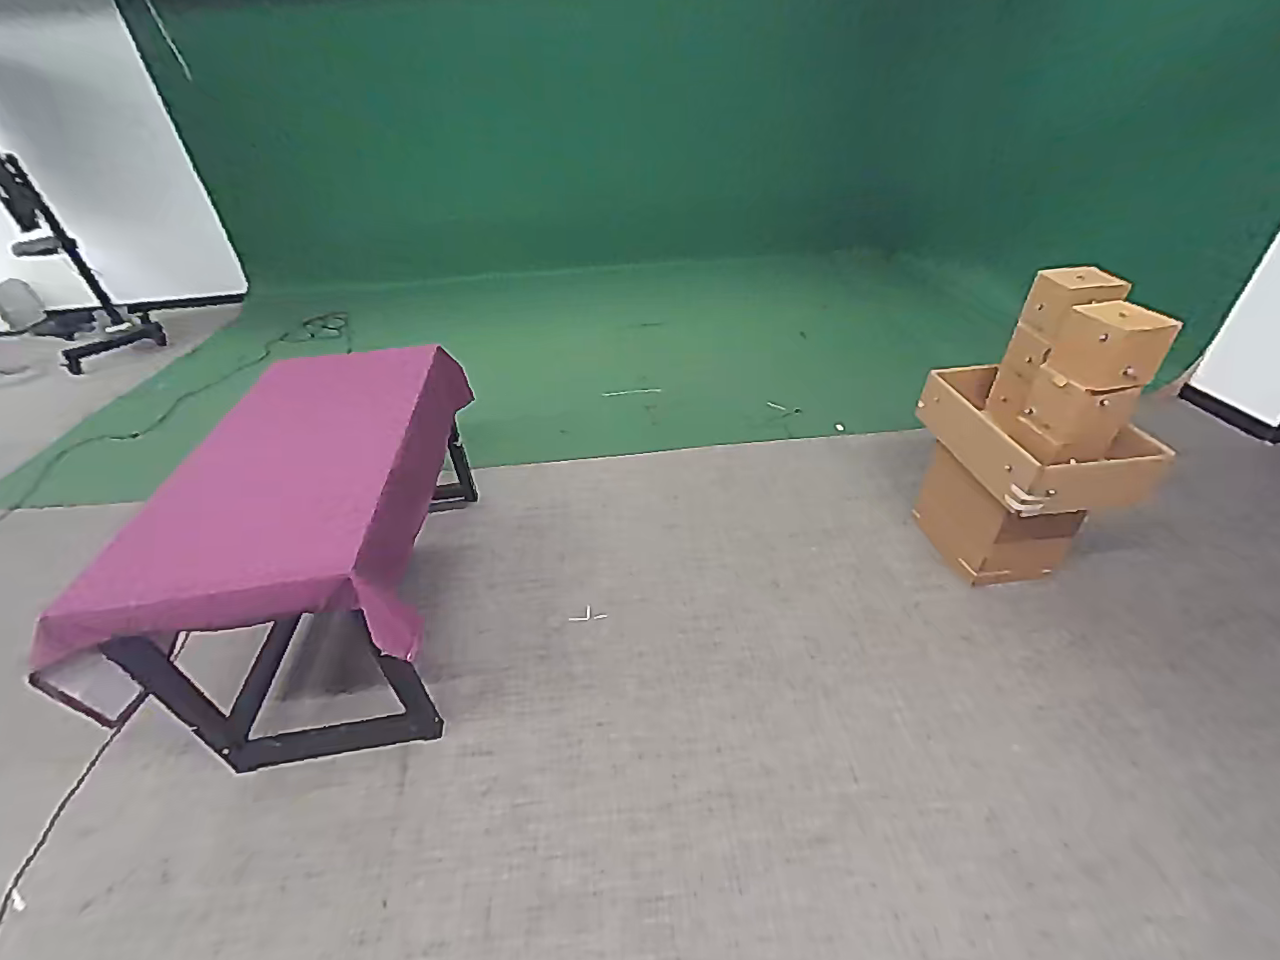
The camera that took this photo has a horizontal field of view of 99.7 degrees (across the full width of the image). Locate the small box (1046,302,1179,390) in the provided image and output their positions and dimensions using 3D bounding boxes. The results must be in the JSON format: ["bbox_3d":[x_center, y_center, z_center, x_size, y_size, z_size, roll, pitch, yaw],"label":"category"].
[{"bbox_3d":[1.240,-0.356,1.439,0.168,0.176,0.179,-8,39,-7],"label":"small box"}]

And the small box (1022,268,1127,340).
[{"bbox_3d":[1.329,-0.543,1.675,0.179,0.176,0.168,-3,39,1],"label":"small box"}]

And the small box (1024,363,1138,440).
[{"bbox_3d":[1.238,-0.227,1.537,0.179,0.176,0.168,-7,38,-4],"label":"small box"}]

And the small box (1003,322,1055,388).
[{"bbox_3d":[1.332,-0.410,1.771,0.179,0.176,0.168,-3,39,-1],"label":"small box"}]
